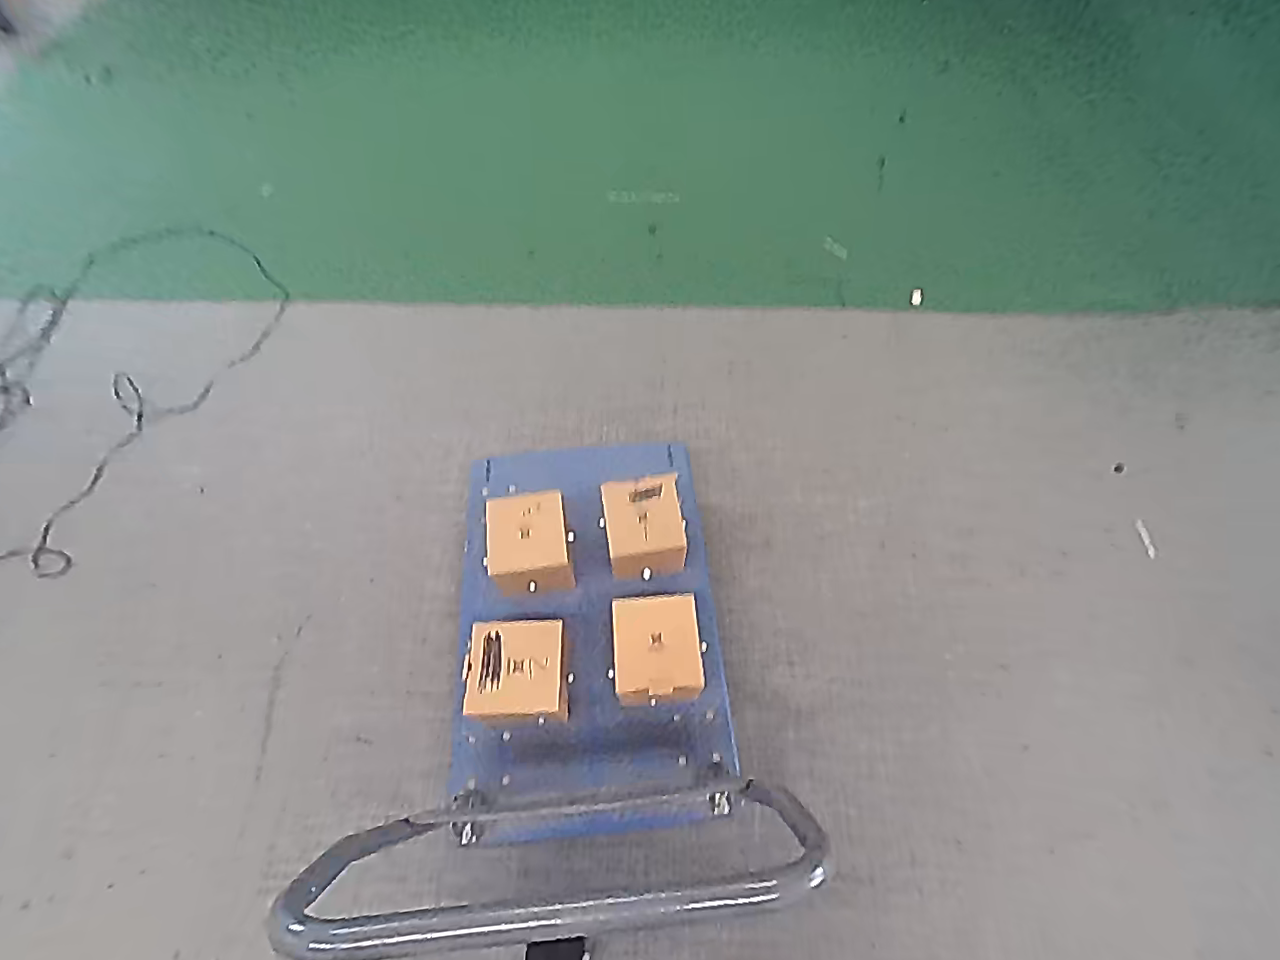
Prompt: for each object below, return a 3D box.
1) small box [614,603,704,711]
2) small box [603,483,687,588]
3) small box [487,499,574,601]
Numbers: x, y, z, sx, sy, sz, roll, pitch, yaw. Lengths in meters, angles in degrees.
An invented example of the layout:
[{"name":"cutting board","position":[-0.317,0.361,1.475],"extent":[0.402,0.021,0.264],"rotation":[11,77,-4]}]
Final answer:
[{"name":"small box","position":[0.031,0.364,1.104],"extent":[0.168,0.176,0.179],"rotation":[-3,61,-2]},{"name":"small box","position":[0.007,0.129,1.236],"extent":[0.168,0.176,0.179],"rotation":[-8,62,-4]},{"name":"small box","position":[-0.242,0.164,1.217],"extent":[0.168,0.176,0.179],"rotation":[-7,60,-5]}]
